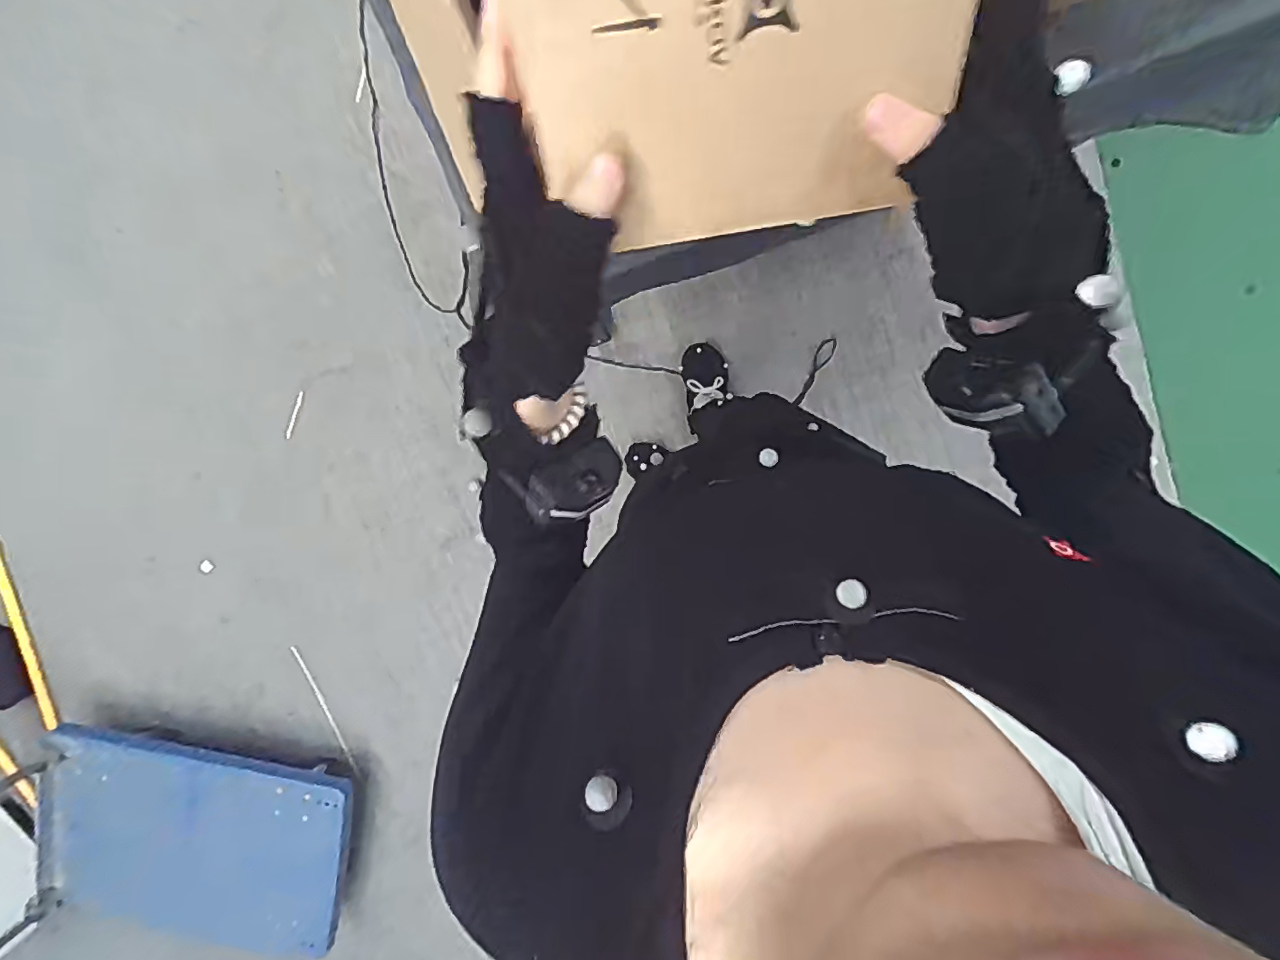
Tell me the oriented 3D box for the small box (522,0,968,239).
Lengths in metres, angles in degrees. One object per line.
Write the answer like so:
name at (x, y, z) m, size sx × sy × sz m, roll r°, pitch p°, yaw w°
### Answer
small box at (0.036, -0.240, 0.263) m, size 0.179 × 0.176 × 0.168 m, roll -7°, pitch 133°, yaw 2°
